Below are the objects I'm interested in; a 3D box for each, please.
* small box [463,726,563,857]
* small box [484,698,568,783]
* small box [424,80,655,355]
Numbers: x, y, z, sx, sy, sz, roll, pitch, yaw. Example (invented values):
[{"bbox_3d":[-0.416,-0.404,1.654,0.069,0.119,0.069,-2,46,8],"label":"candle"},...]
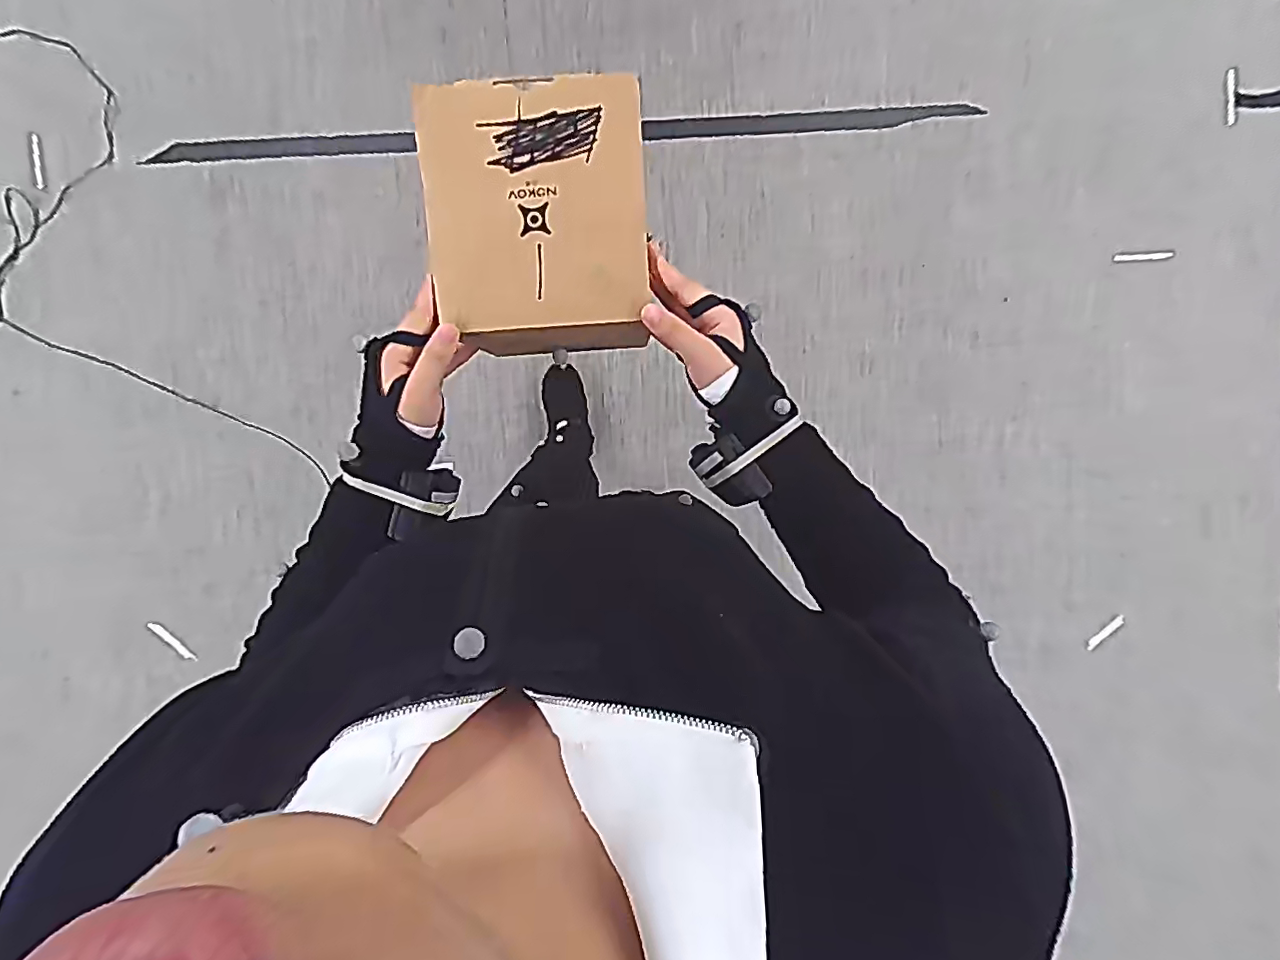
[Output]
[{"bbox_3d":[-0.268,0.671,1.178,0.168,0.176,0.179,-9,94,0],"label":"small box"},{"bbox_3d":[-0.277,0.659,1.341,0.168,0.176,0.179,-6,94,0],"label":"small box"},{"bbox_3d":[-0.076,-0.214,0.486,0.168,0.176,0.179,-4,97,0],"label":"small box"}]
